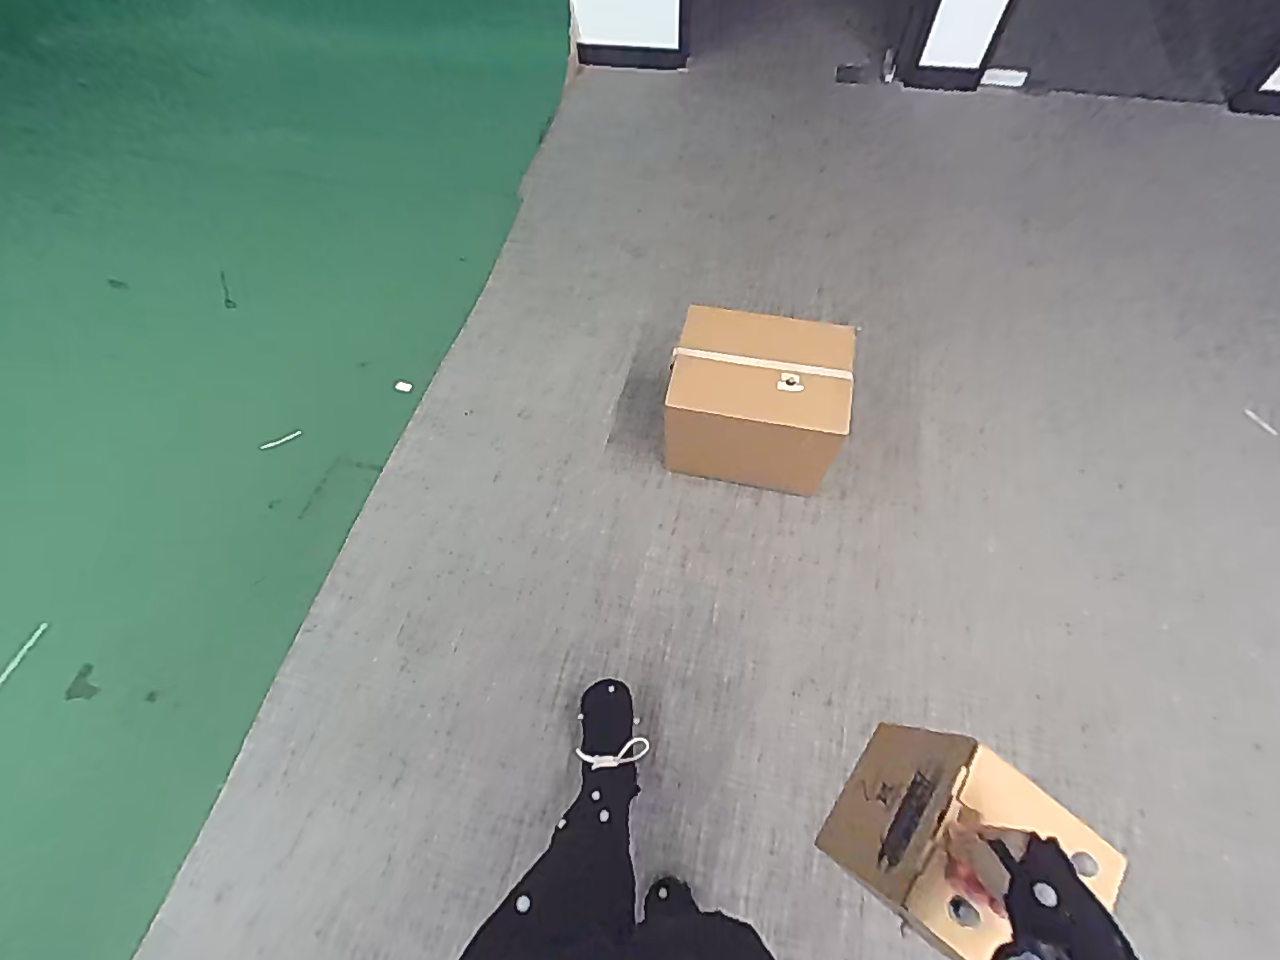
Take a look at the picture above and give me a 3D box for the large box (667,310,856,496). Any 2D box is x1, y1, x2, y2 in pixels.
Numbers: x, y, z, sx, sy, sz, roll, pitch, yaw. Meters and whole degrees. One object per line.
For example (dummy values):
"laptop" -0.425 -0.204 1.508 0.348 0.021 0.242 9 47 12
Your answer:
"large box" 0.291 -0.187 1.372 0.408 0.320 0.320 11 64 7
